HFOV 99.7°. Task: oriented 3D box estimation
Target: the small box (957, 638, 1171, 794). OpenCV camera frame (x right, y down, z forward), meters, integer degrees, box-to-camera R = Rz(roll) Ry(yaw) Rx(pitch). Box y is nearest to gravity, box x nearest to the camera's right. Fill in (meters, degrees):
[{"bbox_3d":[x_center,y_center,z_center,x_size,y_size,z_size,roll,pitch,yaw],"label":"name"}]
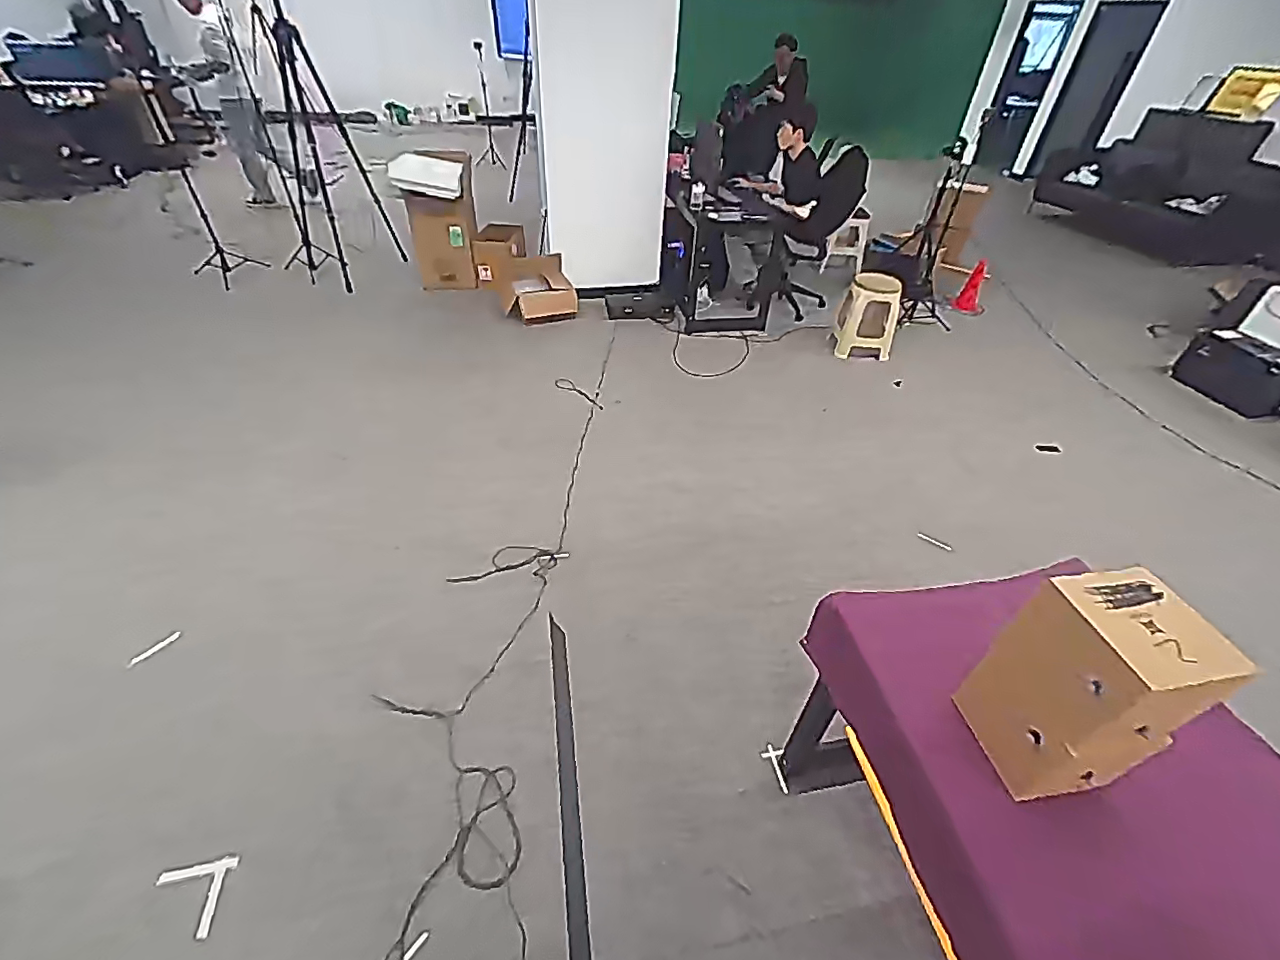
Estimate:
[{"bbox_3d":[0.657,0.381,0.867,0.168,0.176,0.179,-3,41,-8],"label":"small box"}]
